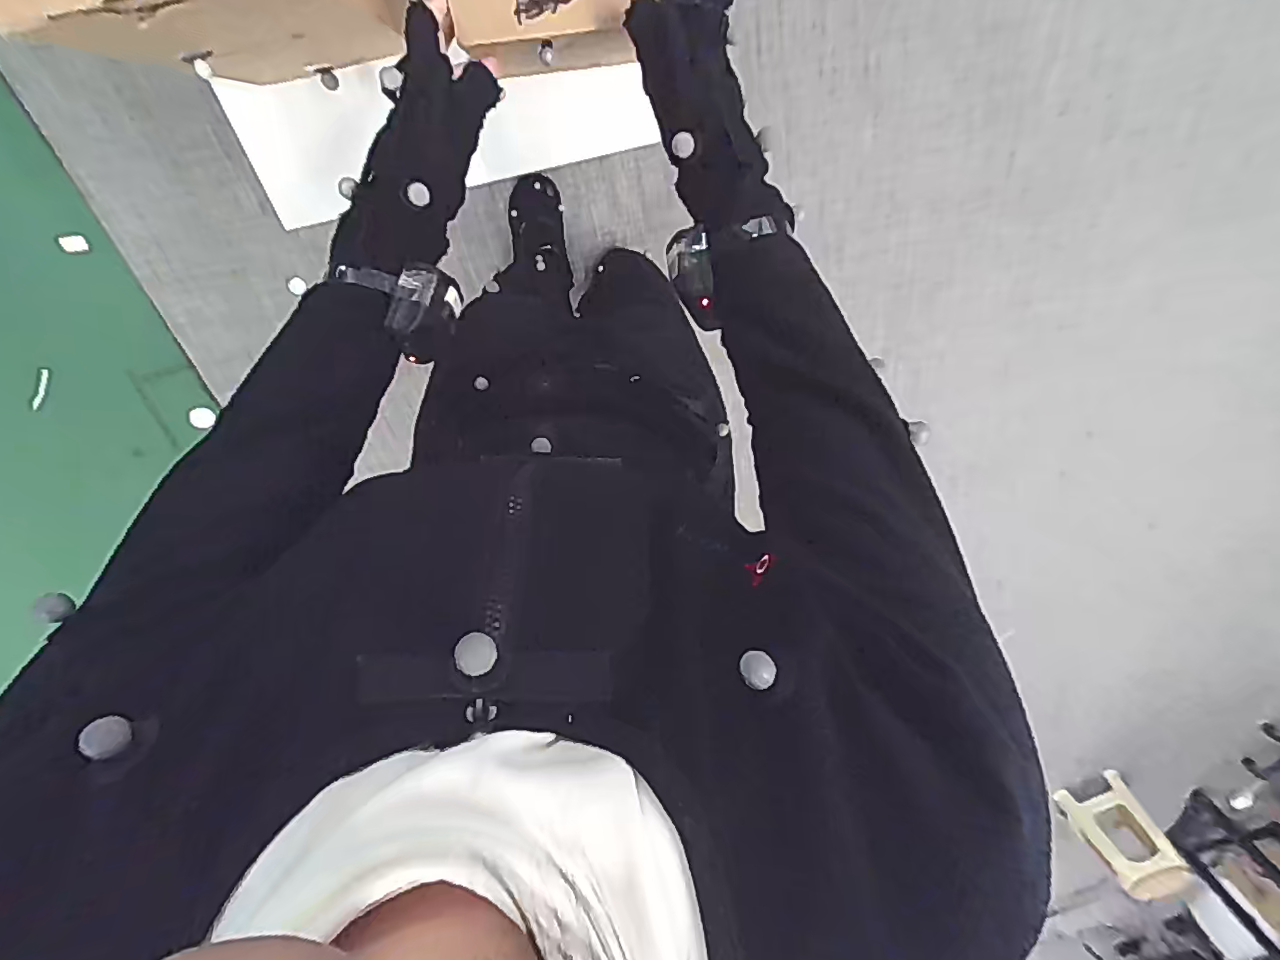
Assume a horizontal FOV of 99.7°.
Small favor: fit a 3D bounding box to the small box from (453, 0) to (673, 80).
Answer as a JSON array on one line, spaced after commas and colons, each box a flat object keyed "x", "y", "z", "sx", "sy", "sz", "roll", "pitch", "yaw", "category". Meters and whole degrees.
[{"x": -0.069, "y": -0.452, "z": 0.439, "sx": 0.168, "sy": 0.176, "sz": 0.179, "roll": -7, "pitch": 120, "yaw": -1, "category": "small box"}]

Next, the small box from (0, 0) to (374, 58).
[{"x": -0.287, "y": -0.371, "z": 0.315, "sx": 0.168, "sy": 0.176, "sz": 0.179, "roll": -13, "pitch": 122, "yaw": 0, "category": "small box"}]

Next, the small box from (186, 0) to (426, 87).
[{"x": -0.306, "y": -0.457, "z": 0.454, "sx": 0.168, "sy": 0.176, "sz": 0.179, "roll": -14, "pitch": 124, "yaw": 2, "category": "small box"}]
